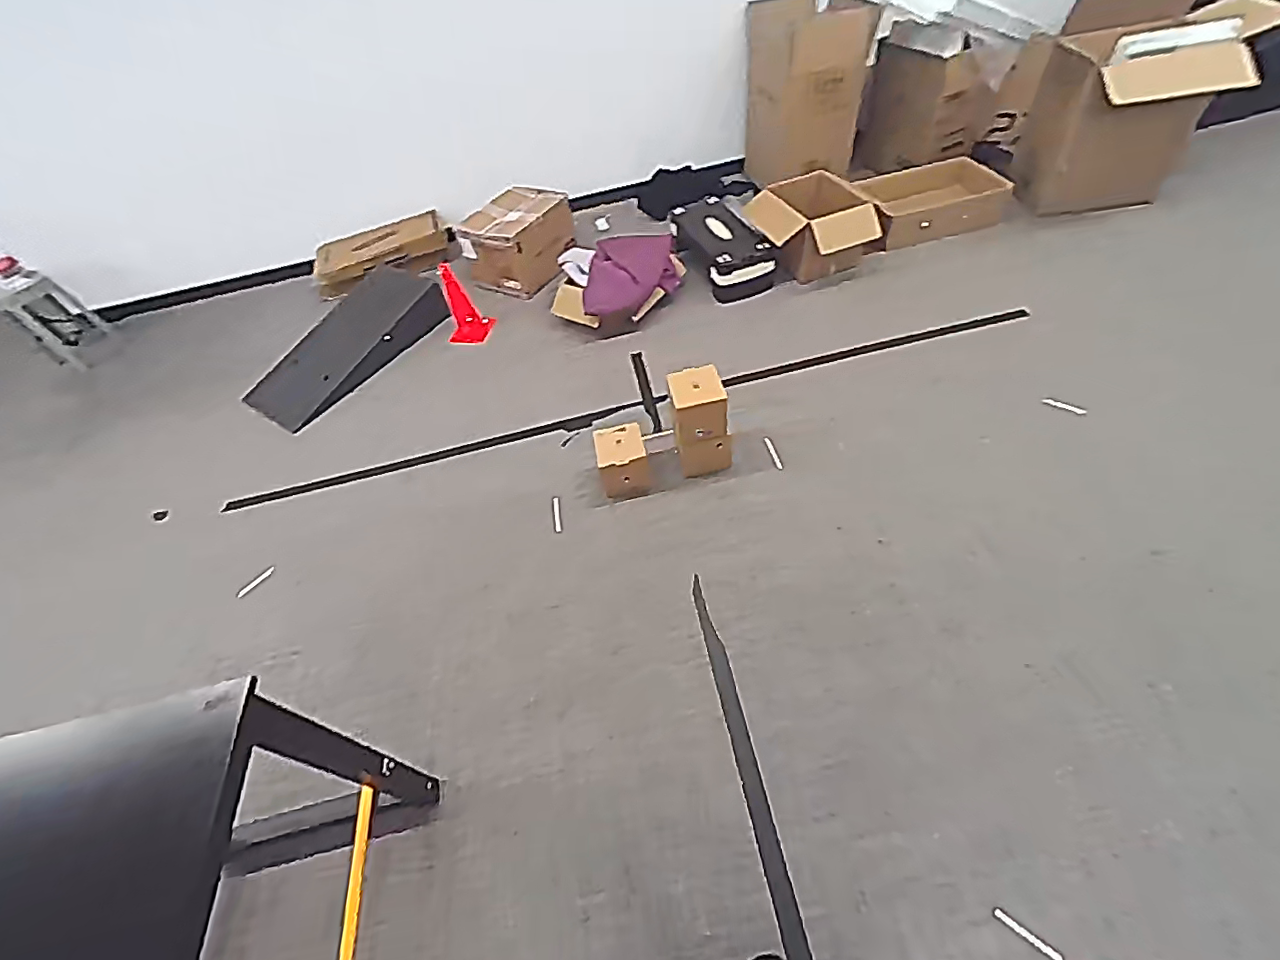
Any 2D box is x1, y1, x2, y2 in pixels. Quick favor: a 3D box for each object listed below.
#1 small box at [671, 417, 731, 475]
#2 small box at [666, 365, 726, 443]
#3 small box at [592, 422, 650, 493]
[{"bbox_3d":[0.215,-0.141,1.918,0.179,0.176,0.168,-14,50,-2],"label":"small box"},{"bbox_3d":[0.186,-0.252,1.801,0.168,0.176,0.179,-13,51,0],"label":"small box"},{"bbox_3d":[-0.065,-0.072,1.911,0.168,0.176,0.179,-12,51,1],"label":"small box"}]
